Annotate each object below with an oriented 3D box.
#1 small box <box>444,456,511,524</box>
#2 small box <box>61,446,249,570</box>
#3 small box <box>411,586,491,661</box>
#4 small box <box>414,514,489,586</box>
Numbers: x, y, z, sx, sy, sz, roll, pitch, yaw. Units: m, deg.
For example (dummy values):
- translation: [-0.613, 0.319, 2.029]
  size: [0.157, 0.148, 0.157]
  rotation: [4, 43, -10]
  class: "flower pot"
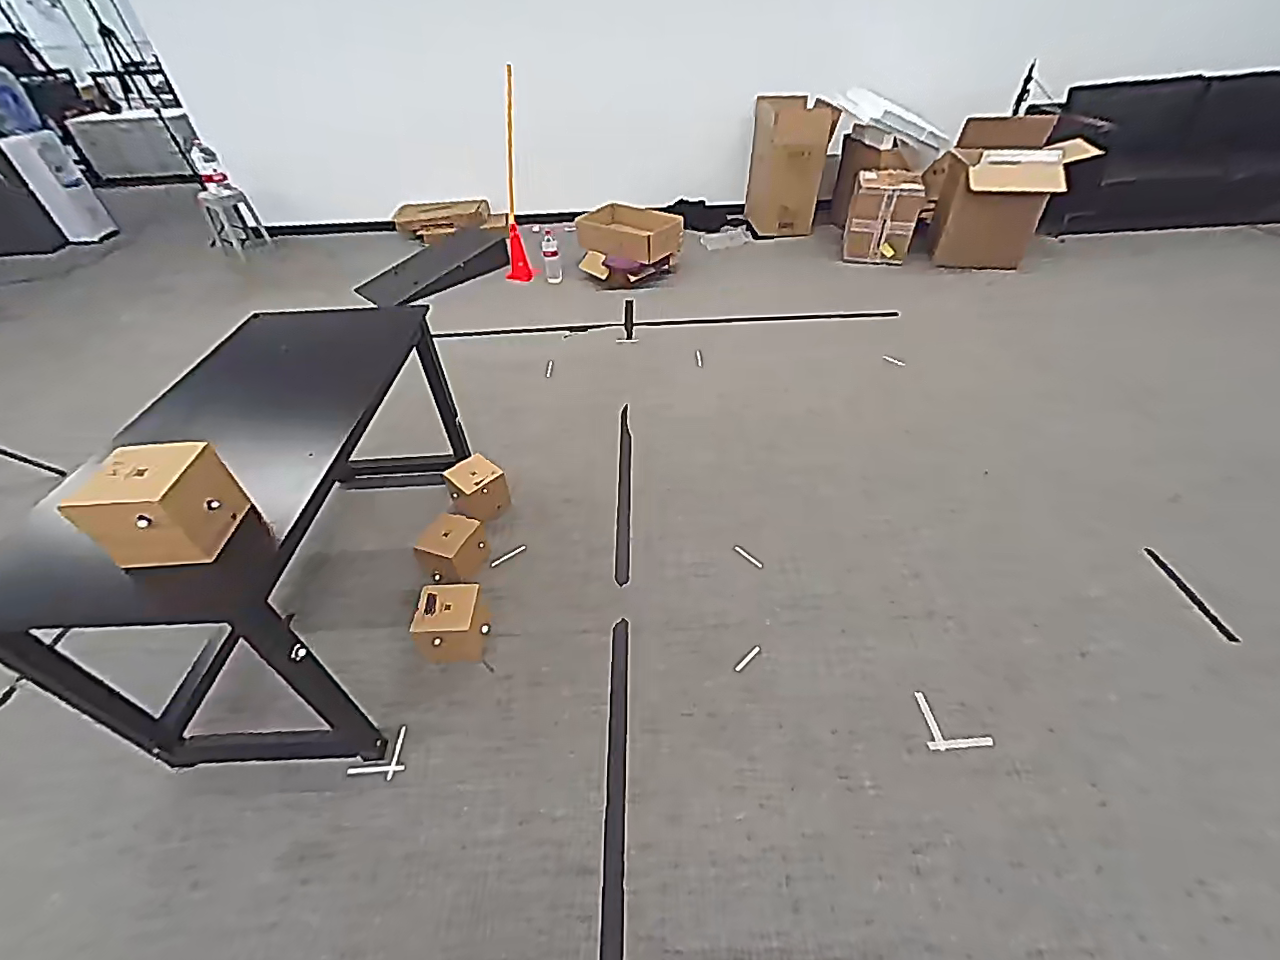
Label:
- translation: [-0.630, 0.041, 2.106]
  size: [0.179, 0.176, 0.168]
  rotation: [31, 53, 31]
  class: "small box"
- translation: [-0.904, 0.055, 1.035]
  size: [0.179, 0.176, 0.168]
  rotation: [-4, 42, -1]
  class: "small box"
- translation: [-0.577, 0.446, 1.669]
  size: [0.179, 0.176, 0.168]
  rotation: [-2, 43, -1]
  class: "small box"
- translation: [-0.648, 0.249, 1.887]
  size: [0.168, 0.176, 0.179]
  rotation: [12, 46, 17]
  class: "small box"
